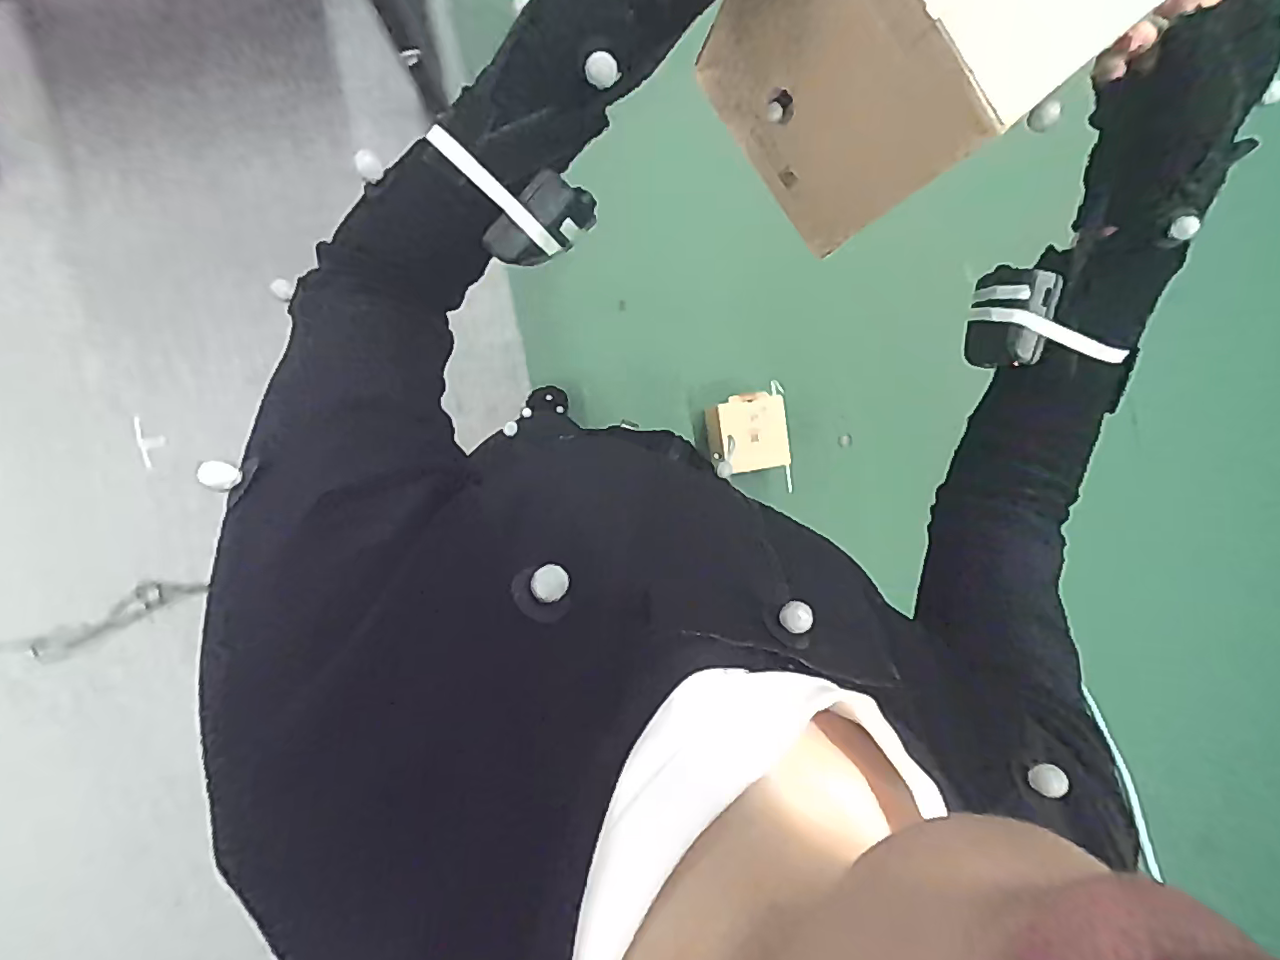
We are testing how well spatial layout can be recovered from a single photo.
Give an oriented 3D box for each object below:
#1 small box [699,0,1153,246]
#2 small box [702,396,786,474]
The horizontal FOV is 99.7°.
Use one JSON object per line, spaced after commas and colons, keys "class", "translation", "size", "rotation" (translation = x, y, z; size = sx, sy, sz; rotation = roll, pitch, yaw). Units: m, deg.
{"class": "small box", "translation": [0.166, -0.287, 0.337], "size": [0.179, 0.176, 0.168], "rotation": [-41, 99, -8]}
{"class": "small box", "translation": [0.266, -0.119, 1.407], "size": [0.168, 0.176, 0.179], "rotation": [-9, 96, -4]}
